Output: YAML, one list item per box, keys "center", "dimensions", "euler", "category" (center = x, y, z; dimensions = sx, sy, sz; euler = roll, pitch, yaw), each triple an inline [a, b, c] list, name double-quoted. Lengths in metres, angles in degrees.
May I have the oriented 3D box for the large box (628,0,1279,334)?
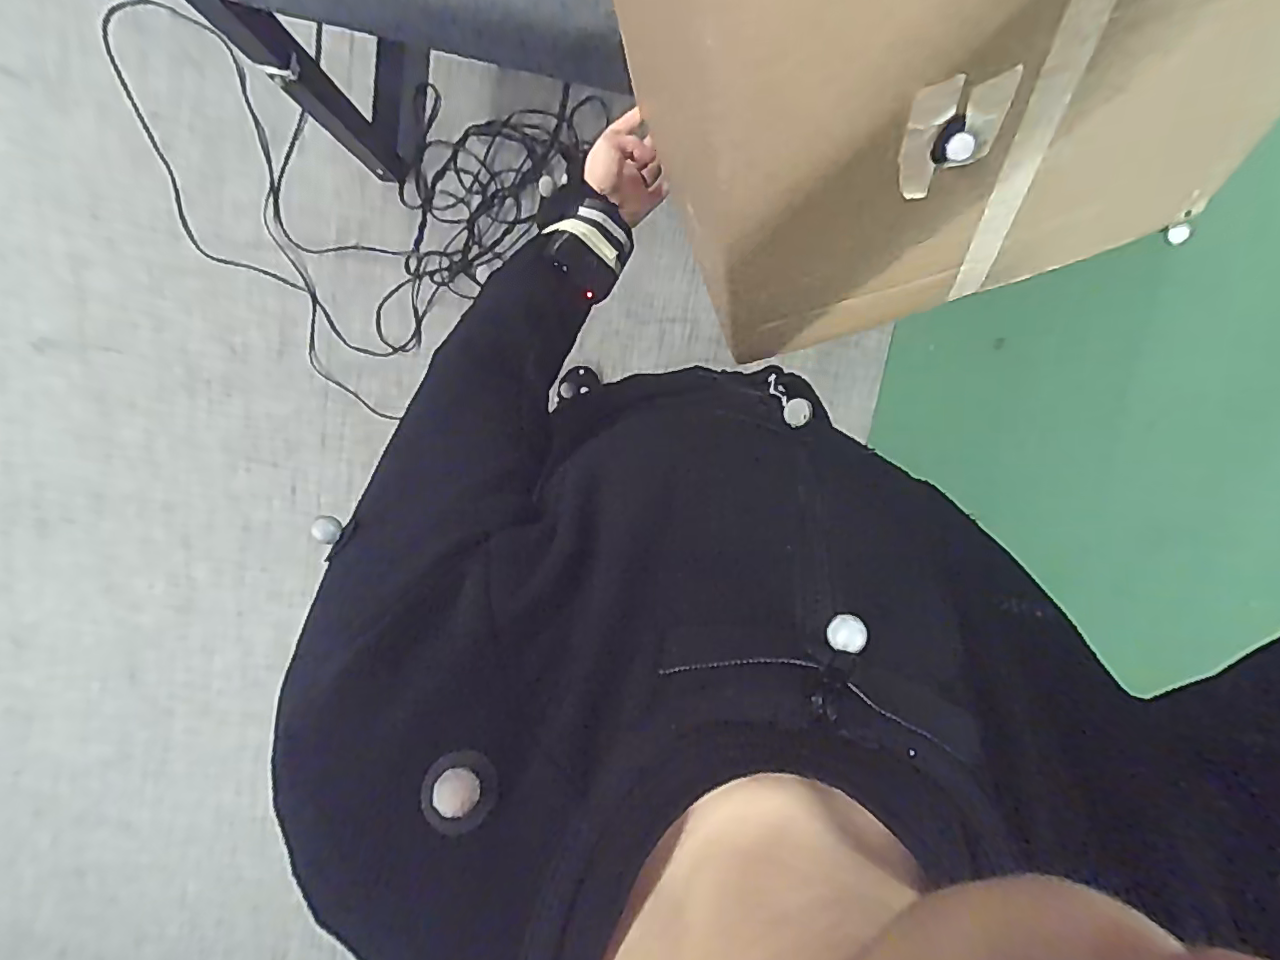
- center: [0.140, -0.355, 0.263]
  dimensions: [0.320, 0.408, 0.320]
  euler: [-18, 66, 7]
  category: "large box"
